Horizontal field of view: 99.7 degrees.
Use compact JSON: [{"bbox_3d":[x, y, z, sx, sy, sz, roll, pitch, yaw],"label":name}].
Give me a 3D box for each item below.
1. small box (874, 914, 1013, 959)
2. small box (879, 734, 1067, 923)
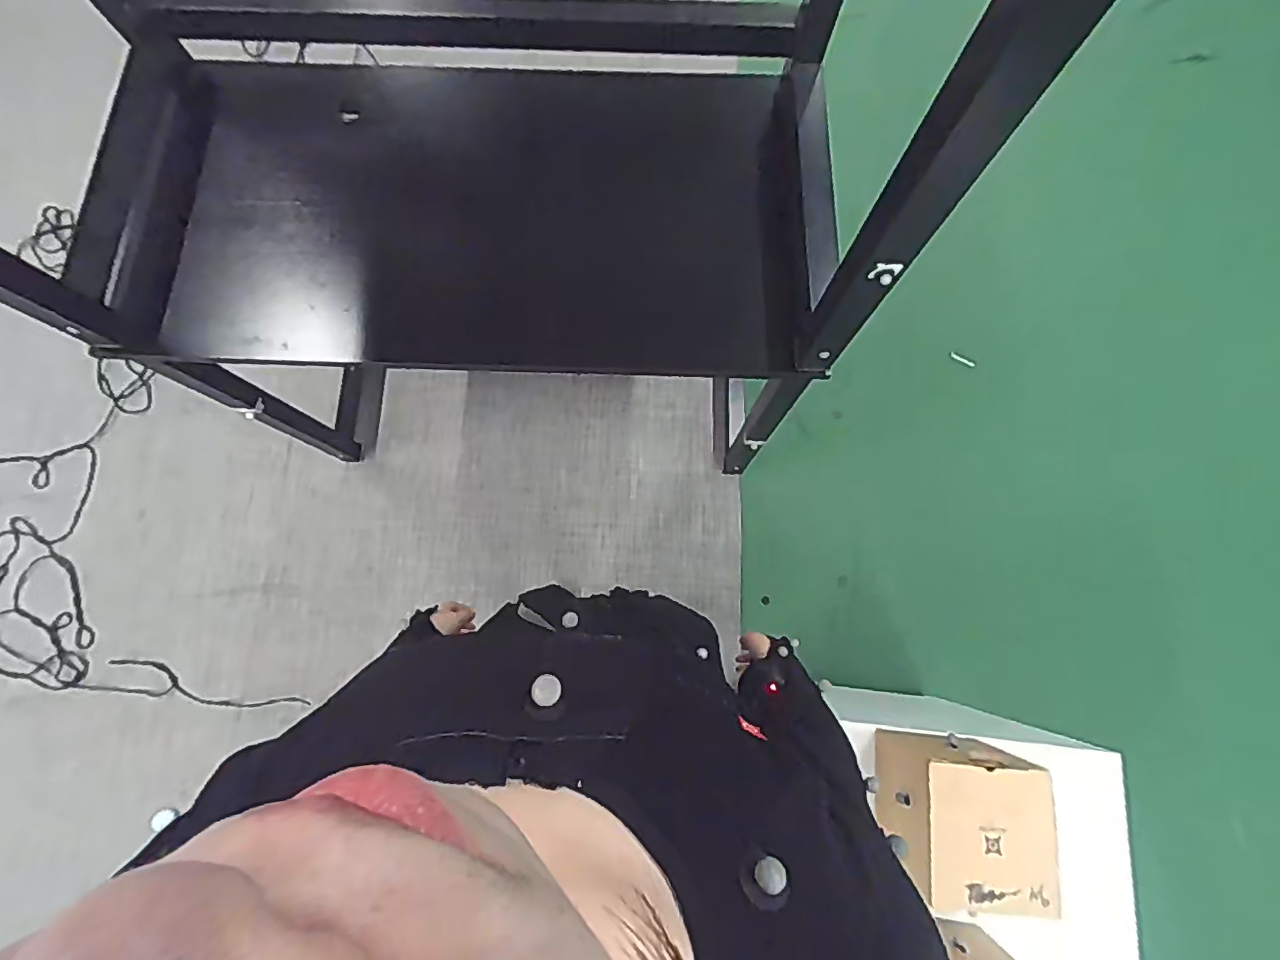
[{"bbox_3d":[0.417,0.713,0.704,0.168,0.176,0.179,8,77,3],"label":"small box"},{"bbox_3d":[0.452,0.472,0.763,0.168,0.176,0.179,5,77,2],"label":"small box"}]
